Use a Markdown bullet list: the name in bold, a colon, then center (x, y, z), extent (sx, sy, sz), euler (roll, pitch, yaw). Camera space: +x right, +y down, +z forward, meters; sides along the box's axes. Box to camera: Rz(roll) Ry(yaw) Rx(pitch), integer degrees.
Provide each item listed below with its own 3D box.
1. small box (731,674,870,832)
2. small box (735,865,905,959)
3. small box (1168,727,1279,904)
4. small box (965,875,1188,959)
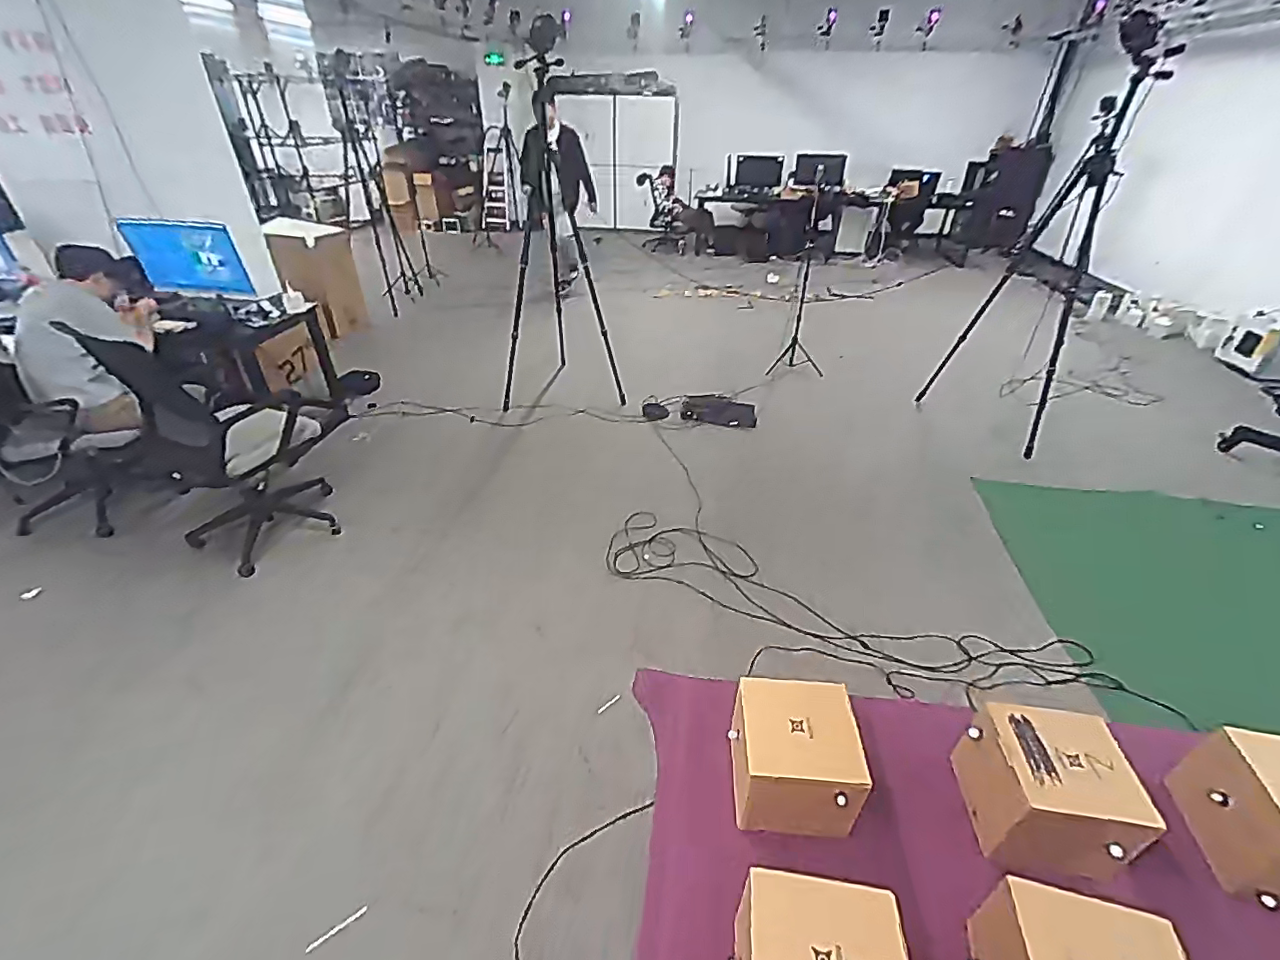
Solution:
- **small box**: center (0.243, 0.439, 0.872), extent (0.179, 0.176, 0.168), euler (4, 35, 3)
- **small box**: center (0.204, 0.596, 0.636), extent (0.179, 0.176, 0.168), euler (6, 34, 7)
- **small box**: center (0.950, 0.504, 0.791), extent (0.168, 0.176, 0.179), euler (8, 34, 11)
- **small box**: center (0.513, 0.610, 0.628), extent (0.179, 0.176, 0.168), euler (9, 34, 13)
